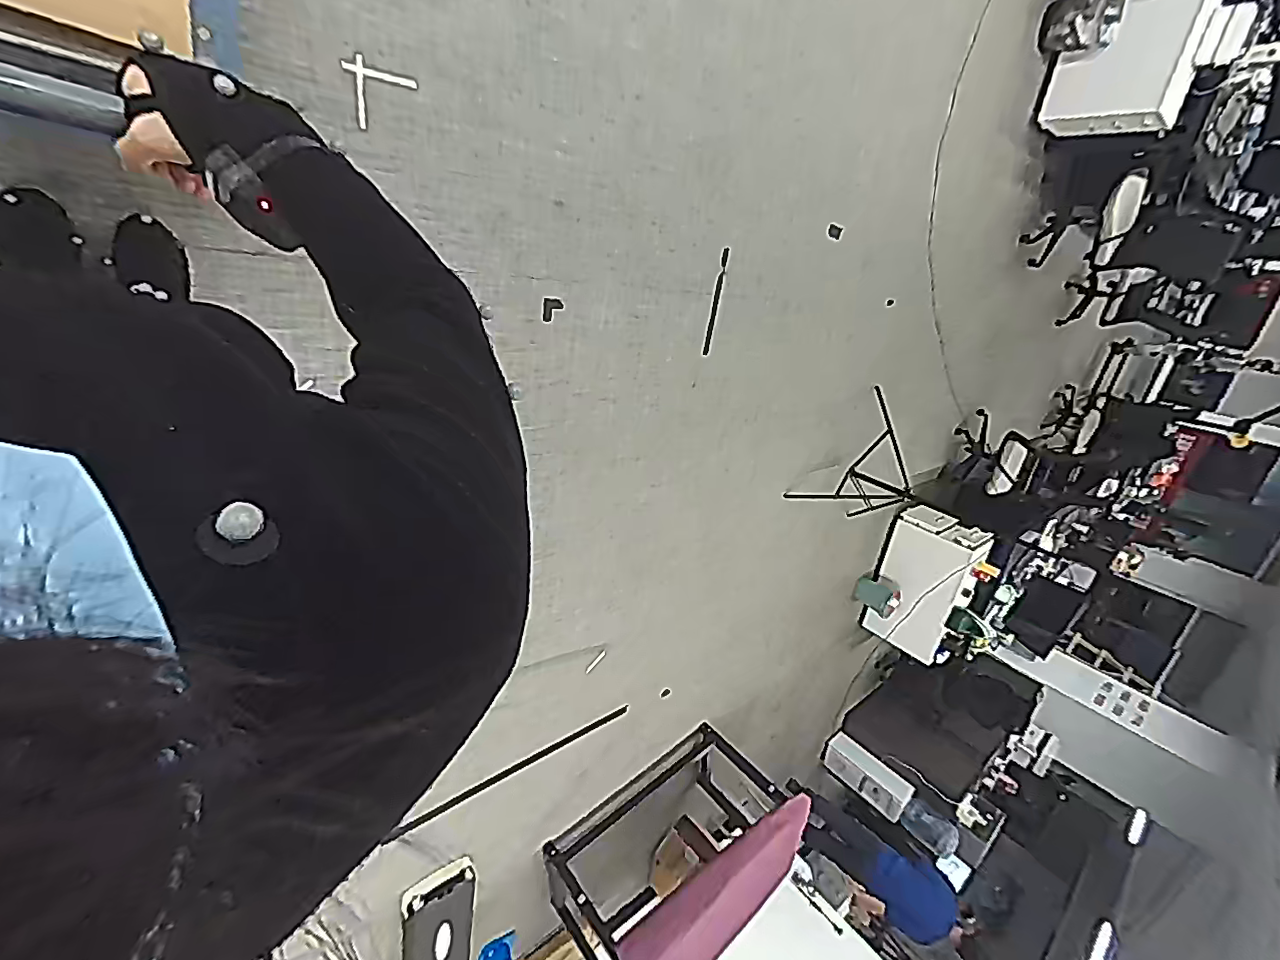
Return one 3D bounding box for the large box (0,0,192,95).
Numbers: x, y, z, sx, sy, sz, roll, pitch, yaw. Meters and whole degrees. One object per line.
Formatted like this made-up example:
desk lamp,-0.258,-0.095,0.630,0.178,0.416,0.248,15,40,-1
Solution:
large box,-0.780,-0.687,0.595,0.408,0.320,0.320,-7,117,-42
